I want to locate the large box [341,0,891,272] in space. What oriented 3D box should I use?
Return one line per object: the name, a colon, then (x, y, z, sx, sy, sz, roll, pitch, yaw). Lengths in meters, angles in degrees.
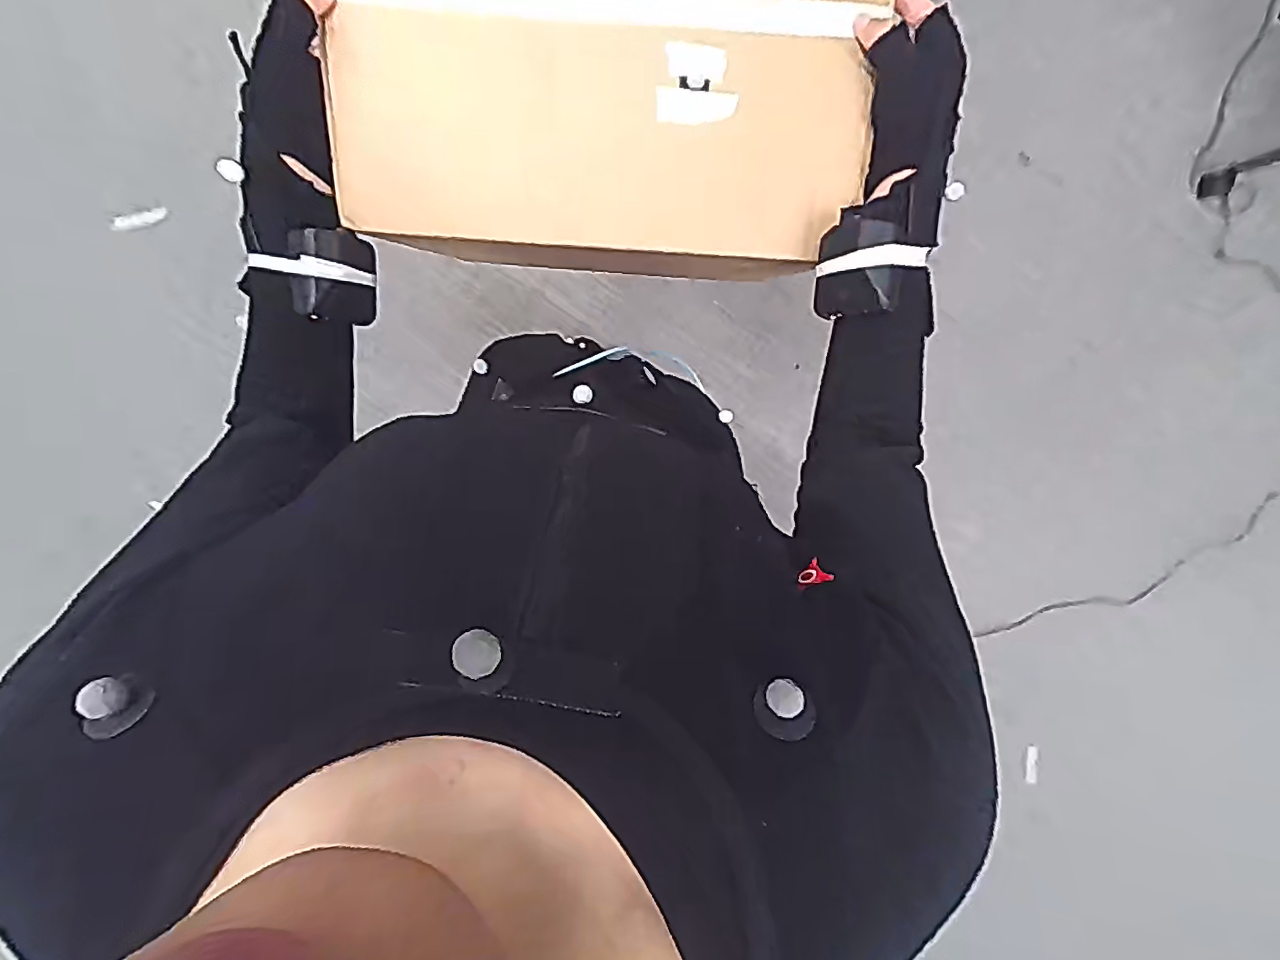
large box: (-0.020, -0.388, 0.533, 0.408, 0.320, 0.320, 3, 109, -3)
